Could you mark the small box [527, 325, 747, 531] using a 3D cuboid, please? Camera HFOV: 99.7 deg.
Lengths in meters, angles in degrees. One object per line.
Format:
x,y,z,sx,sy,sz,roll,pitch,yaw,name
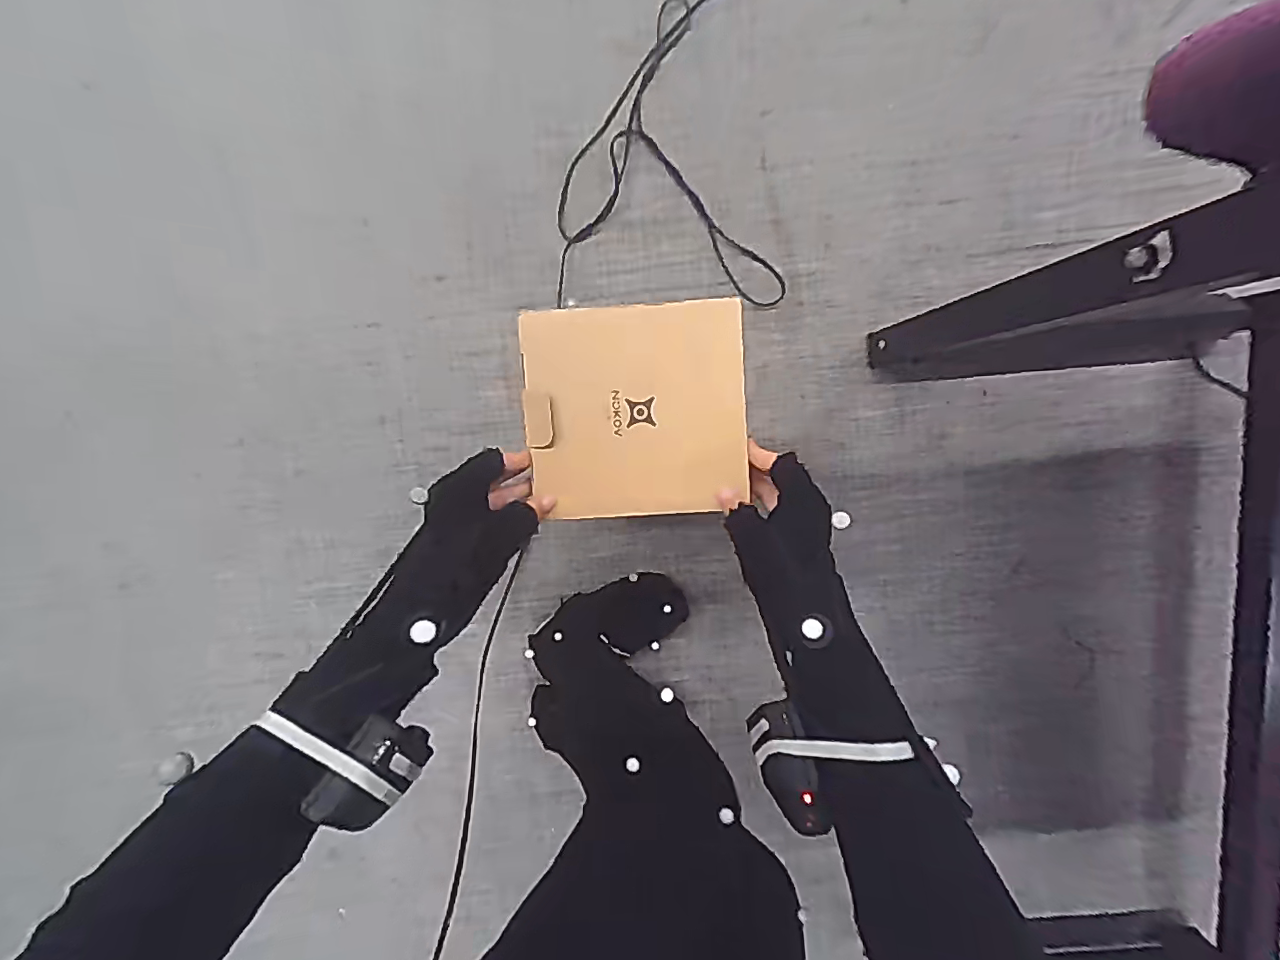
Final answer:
0.000,-0.048,0.516,0.179,0.176,0.168,-2,95,2,small box
